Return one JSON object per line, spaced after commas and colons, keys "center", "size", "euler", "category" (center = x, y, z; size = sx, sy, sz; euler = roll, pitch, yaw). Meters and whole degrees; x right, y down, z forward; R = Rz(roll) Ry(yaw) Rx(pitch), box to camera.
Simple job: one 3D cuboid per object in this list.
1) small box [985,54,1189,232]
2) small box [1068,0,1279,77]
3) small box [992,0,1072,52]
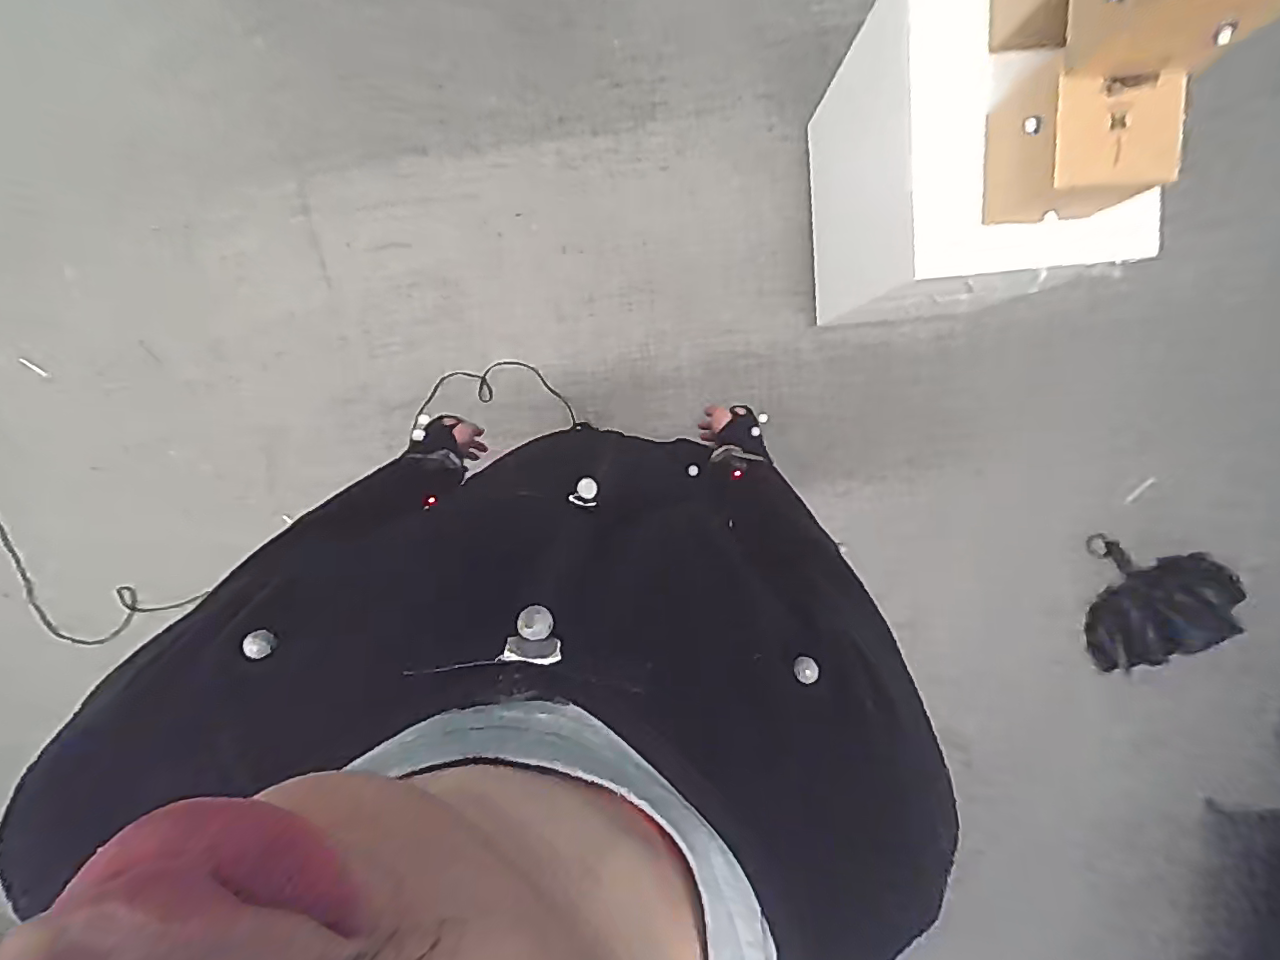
{"center": [0.639, -0.485, 0.795], "size": [0.168, 0.176, 0.179], "euler": [-2, 98, 2], "category": "small box"}
{"center": [0.634, -0.596, 0.617], "size": [0.168, 0.176, 0.179], "euler": [-3, 97, 1], "category": "small box"}
{"center": [0.628, -0.743, 0.761], "size": [0.168, 0.176, 0.179], "euler": [-4, 100, 2], "category": "small box"}
